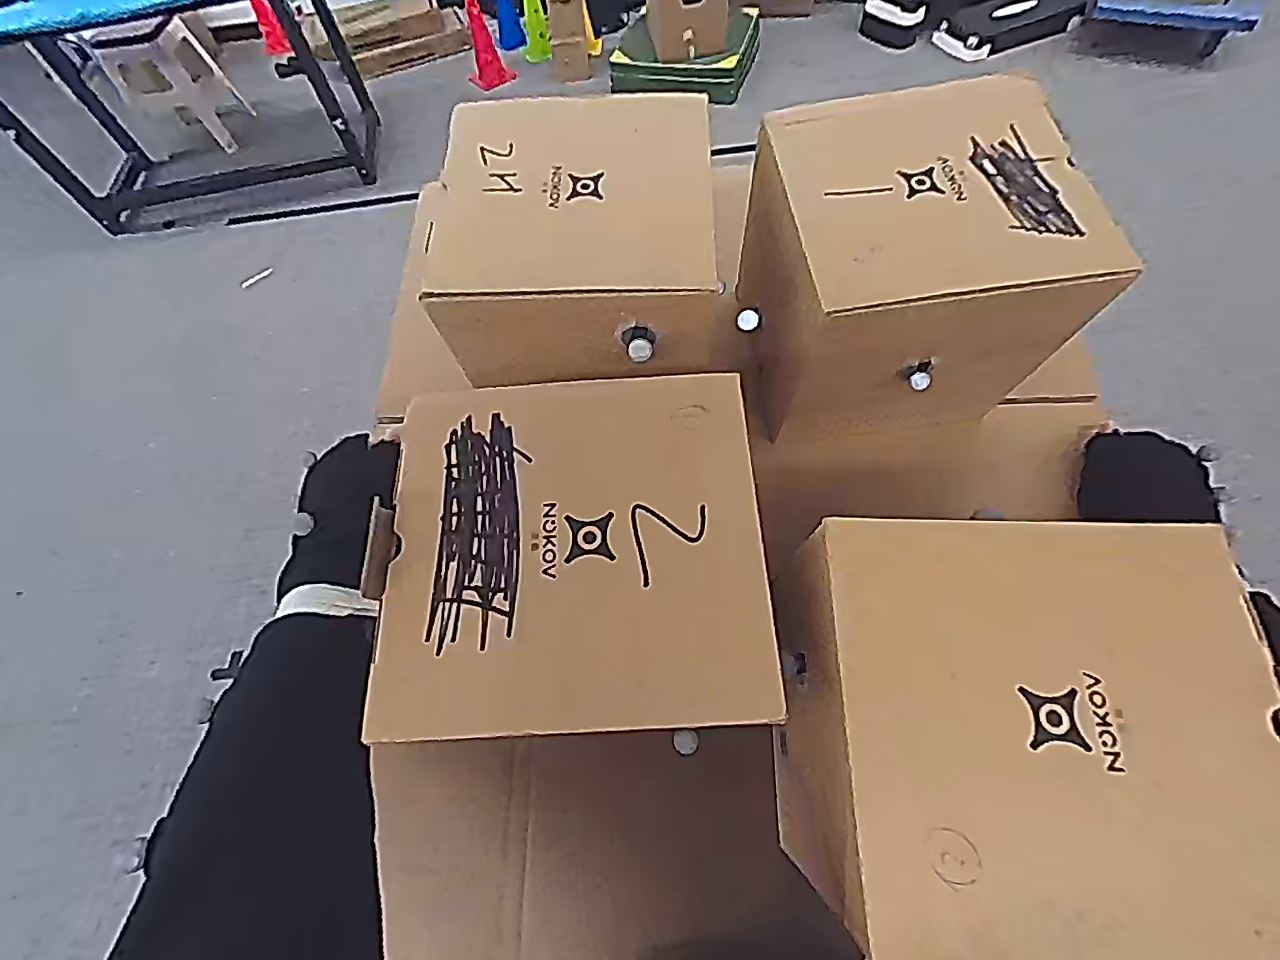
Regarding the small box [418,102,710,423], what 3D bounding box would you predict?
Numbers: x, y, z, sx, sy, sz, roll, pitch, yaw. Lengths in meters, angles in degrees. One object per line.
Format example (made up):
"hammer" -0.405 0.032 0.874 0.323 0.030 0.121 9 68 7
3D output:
"small box" -0.041 -0.153 0.421 0.179 0.176 0.168 0 68 4
